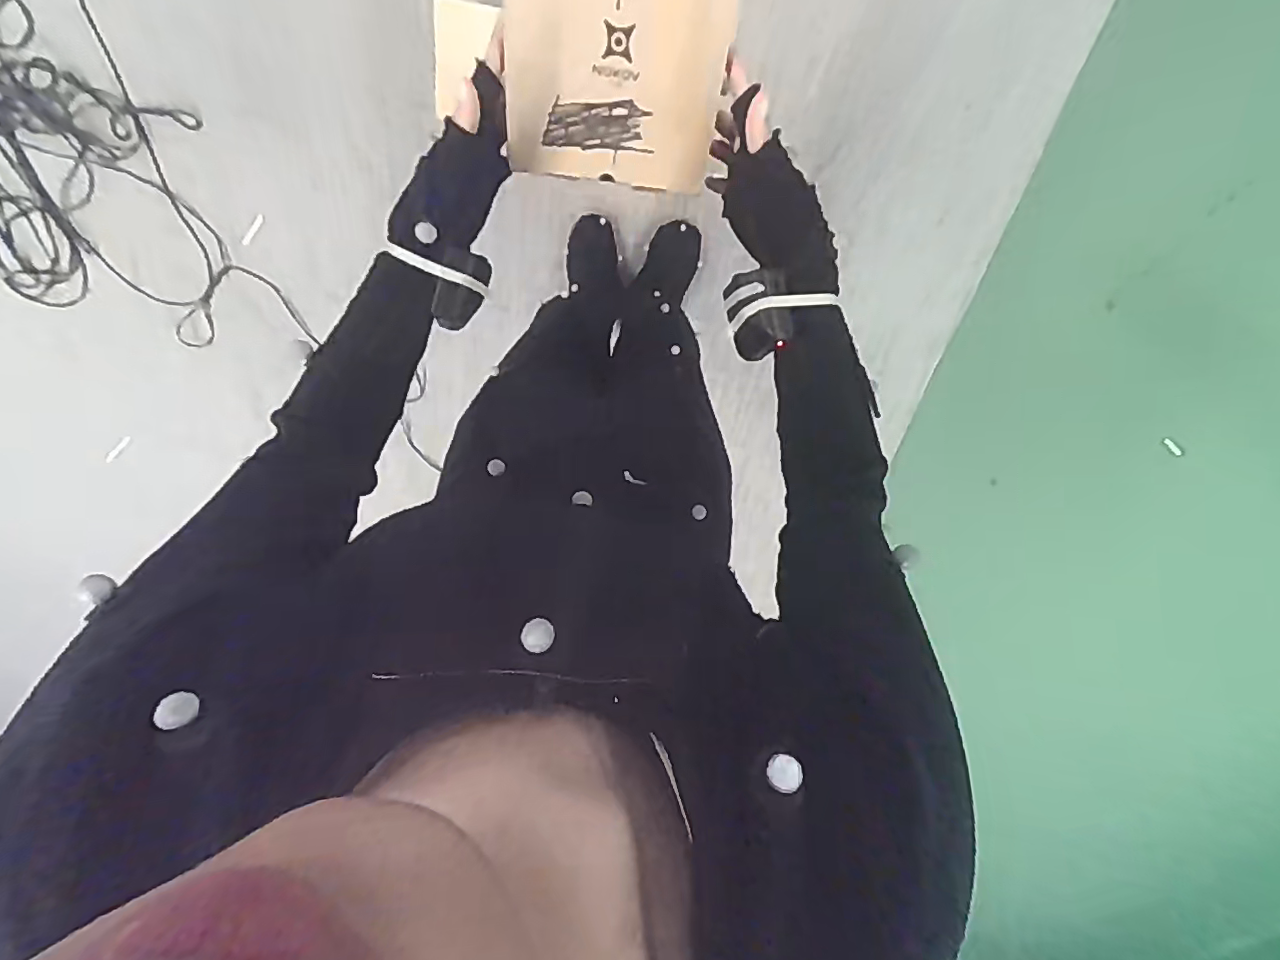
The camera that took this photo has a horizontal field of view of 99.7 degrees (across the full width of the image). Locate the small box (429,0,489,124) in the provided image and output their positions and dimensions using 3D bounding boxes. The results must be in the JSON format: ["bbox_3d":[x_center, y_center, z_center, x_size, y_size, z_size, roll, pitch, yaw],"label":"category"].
[{"bbox_3d":[-0.279,-0.764,1.002,0.168,0.176,0.179,10,122,-3],"label":"small box"}]

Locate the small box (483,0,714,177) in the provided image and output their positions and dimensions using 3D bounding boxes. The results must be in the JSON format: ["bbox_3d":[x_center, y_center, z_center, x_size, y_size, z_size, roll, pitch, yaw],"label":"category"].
[{"bbox_3d":[-0.029,-0.382,0.449,0.168,0.176,0.179,6,133,-4],"label":"small box"}]
